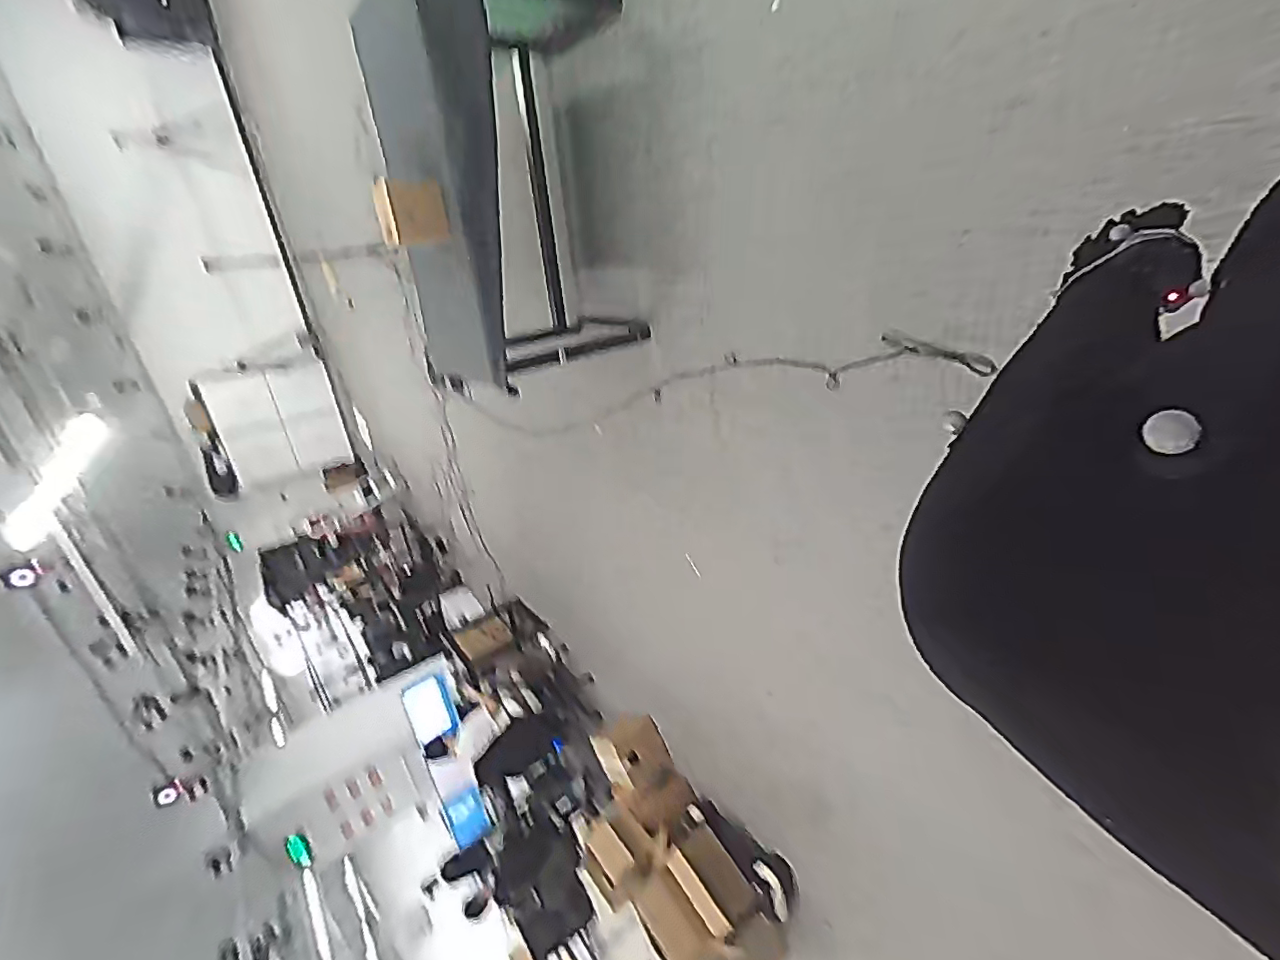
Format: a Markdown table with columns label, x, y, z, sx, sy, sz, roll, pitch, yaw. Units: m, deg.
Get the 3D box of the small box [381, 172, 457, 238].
| label | x | y | z | sx | sy | sz | roll | pitch | yaw |
| --- | --- | --- | --- | --- | --- | --- | --- | --- | --- |
| small box | -0.714 | -0.894 | 1.760 | 0.168 | 0.176 | 0.179 | 24 | 127 | 49 |
